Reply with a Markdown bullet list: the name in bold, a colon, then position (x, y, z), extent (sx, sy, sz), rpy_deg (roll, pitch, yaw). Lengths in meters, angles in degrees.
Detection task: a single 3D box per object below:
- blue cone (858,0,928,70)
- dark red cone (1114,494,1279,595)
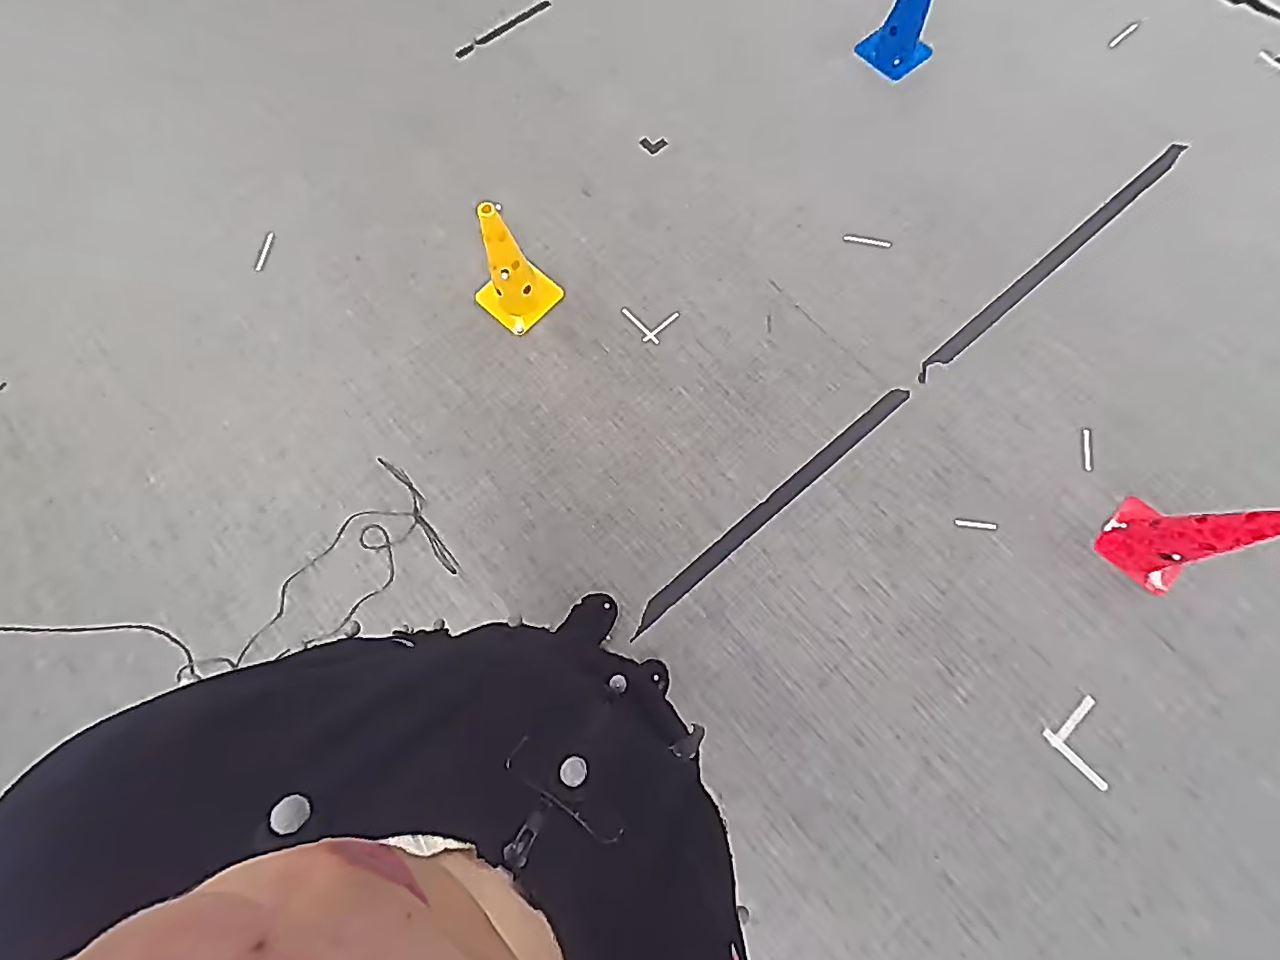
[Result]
- **blue cone**: position (0.853, -1.516, 1.667), extent (0.193, 0.380, 0.192), rpy_deg (-39, 77, -9)
- **dark red cone**: position (1.316, 0.118, 1.203), extent (0.201, 0.394, 0.202), rpy_deg (40, 79, 11)
